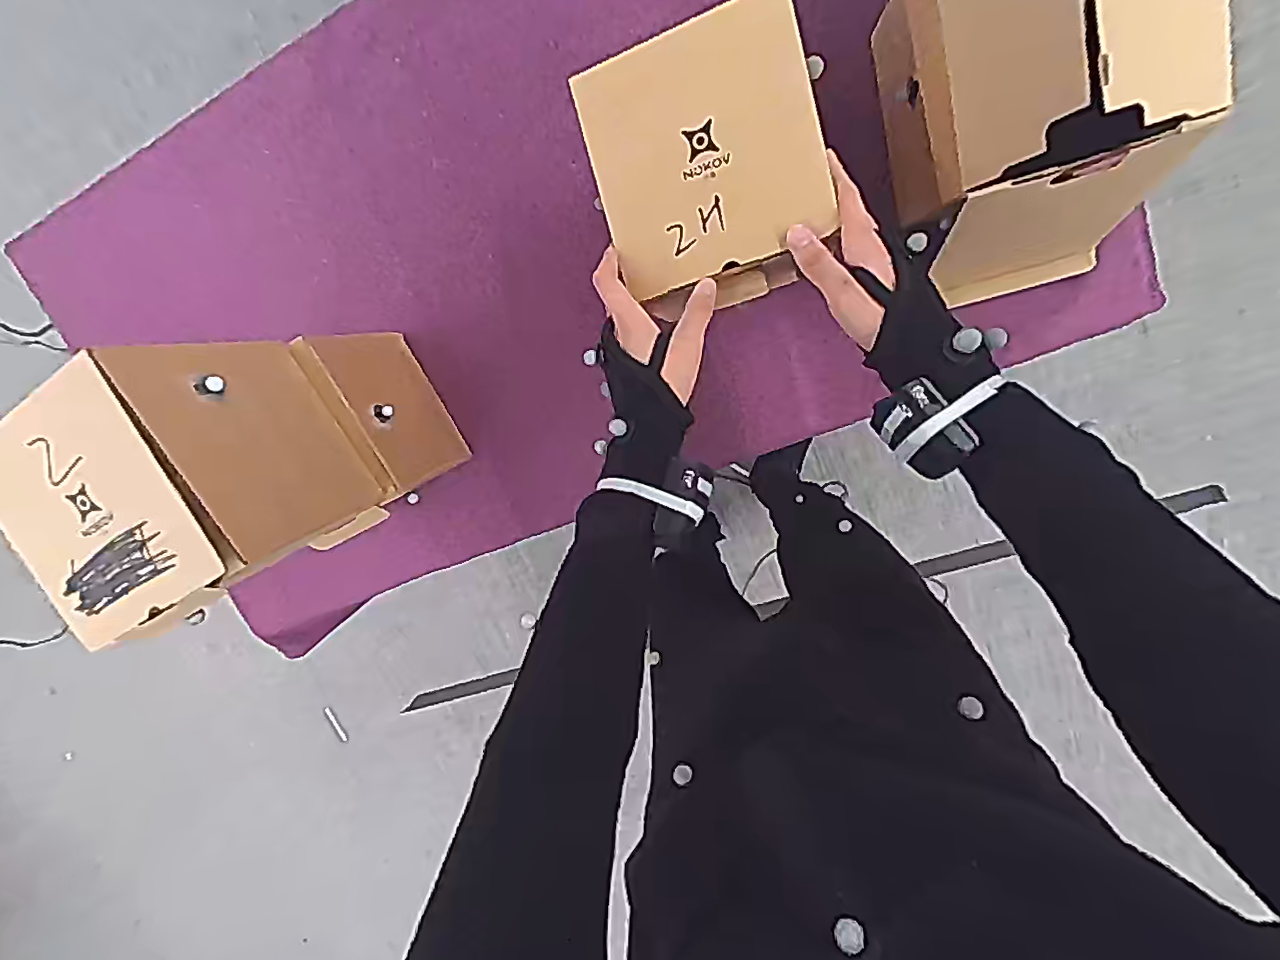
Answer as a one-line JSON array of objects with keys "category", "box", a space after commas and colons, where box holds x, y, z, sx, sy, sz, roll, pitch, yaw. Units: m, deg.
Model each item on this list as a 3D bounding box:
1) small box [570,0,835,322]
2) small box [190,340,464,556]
[{"category": "small box", "box": [0.062, -0.253, 0.476, 0.168, 0.176, 0.179, -14, 98, 17]}, {"category": "small box", "box": [-0.337, -0.046, 0.620, 0.168, 0.176, 0.179, -25, 101, 14]}]
